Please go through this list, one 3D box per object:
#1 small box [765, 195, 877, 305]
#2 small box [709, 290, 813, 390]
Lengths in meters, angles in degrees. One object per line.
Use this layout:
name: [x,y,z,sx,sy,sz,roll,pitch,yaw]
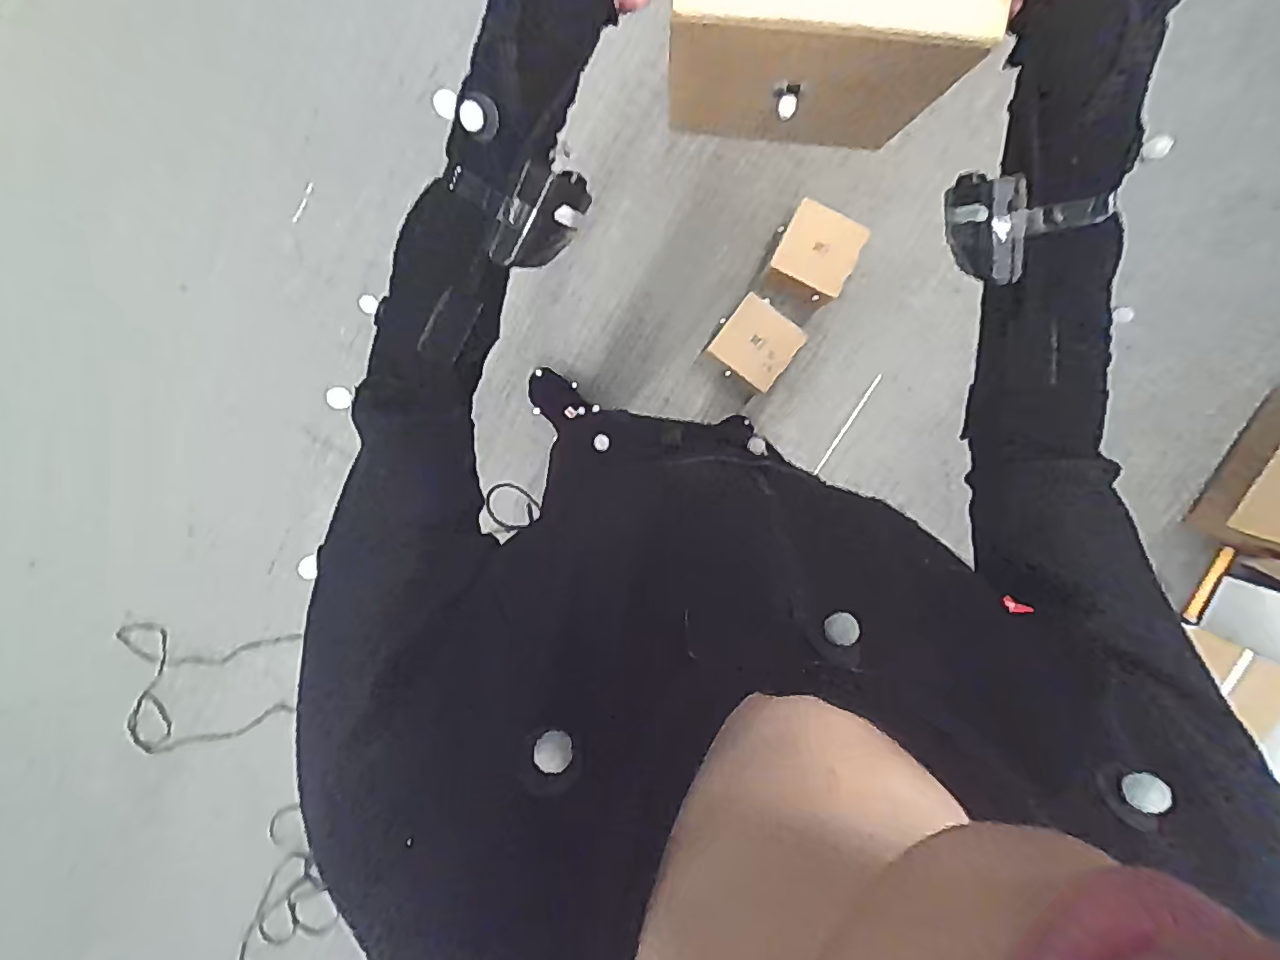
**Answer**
small box: [0.419,-0.536,1.292,0.179,0.176,0.168,26,99,-2]
small box: [0.285,-0.334,1.327,0.179,0.176,0.168,37,99,-4]
